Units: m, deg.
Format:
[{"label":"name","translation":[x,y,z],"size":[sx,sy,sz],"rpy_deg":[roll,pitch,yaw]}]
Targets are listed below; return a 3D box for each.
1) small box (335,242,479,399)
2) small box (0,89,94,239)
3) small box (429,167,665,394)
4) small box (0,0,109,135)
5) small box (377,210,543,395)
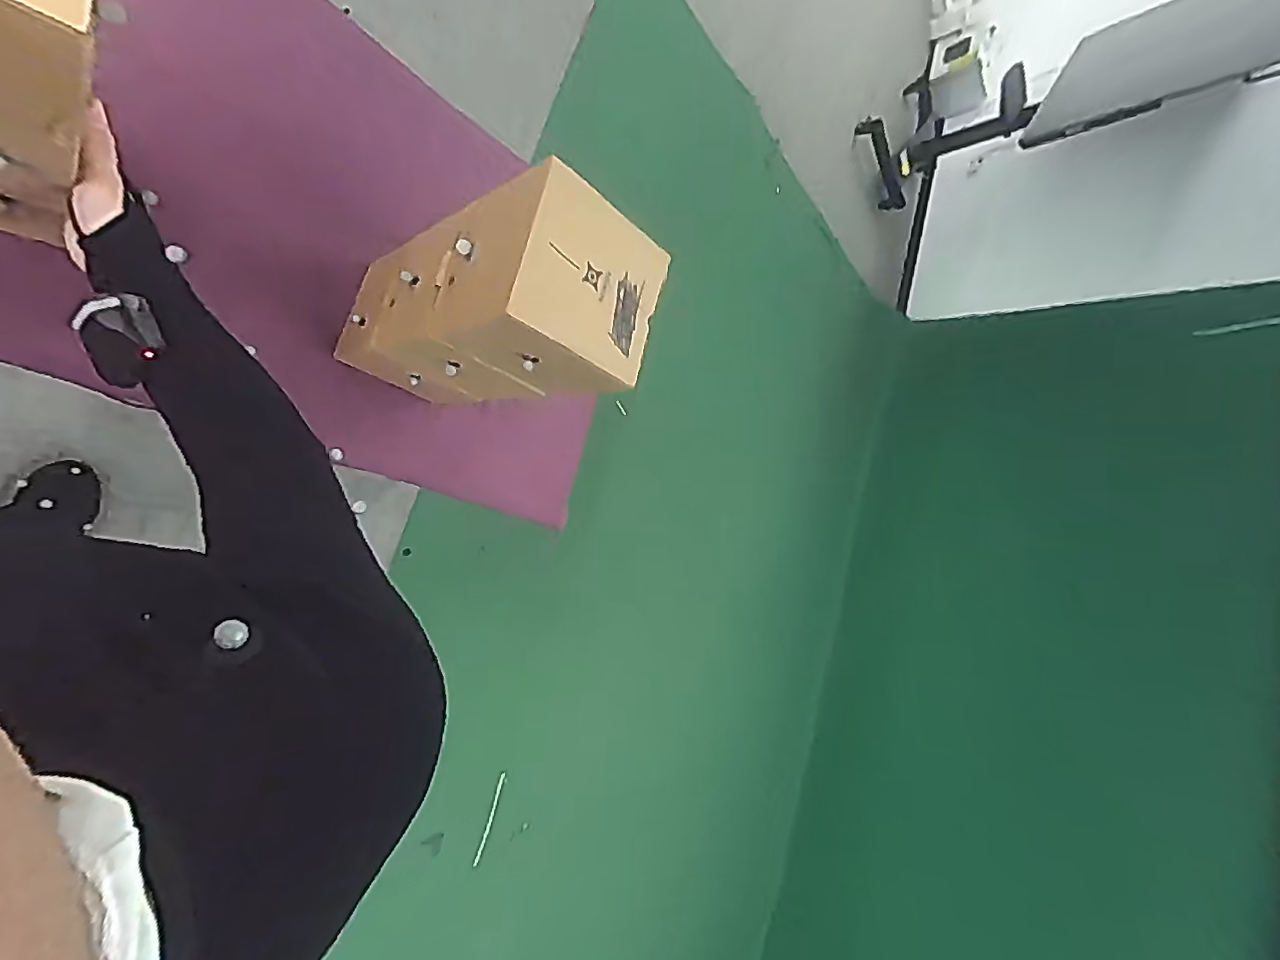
[{"label":"small box","translation":[-0.341,-0.232,0.843],"size":[0.179,0.176,0.168],"rpy_deg":[27,76,-44]},{"label":"small box","translation":[-0.645,-0.347,0.504],"size":[0.179,0.176,0.168],"rpy_deg":[7,87,-47]},{"label":"small box","translation":[-0.105,-0.207,0.617],"size":[0.179,0.176,0.168],"rpy_deg":[23,79,-44]},{"label":"small box","translation":[-0.404,-0.320,0.285],"size":[0.179,0.176,0.168],"rpy_deg":[5,90,-47]},{"label":"small box","translation":[-0.224,-0.220,0.730],"size":[0.179,0.176,0.168],"rpy_deg":[25,78,-44]}]
